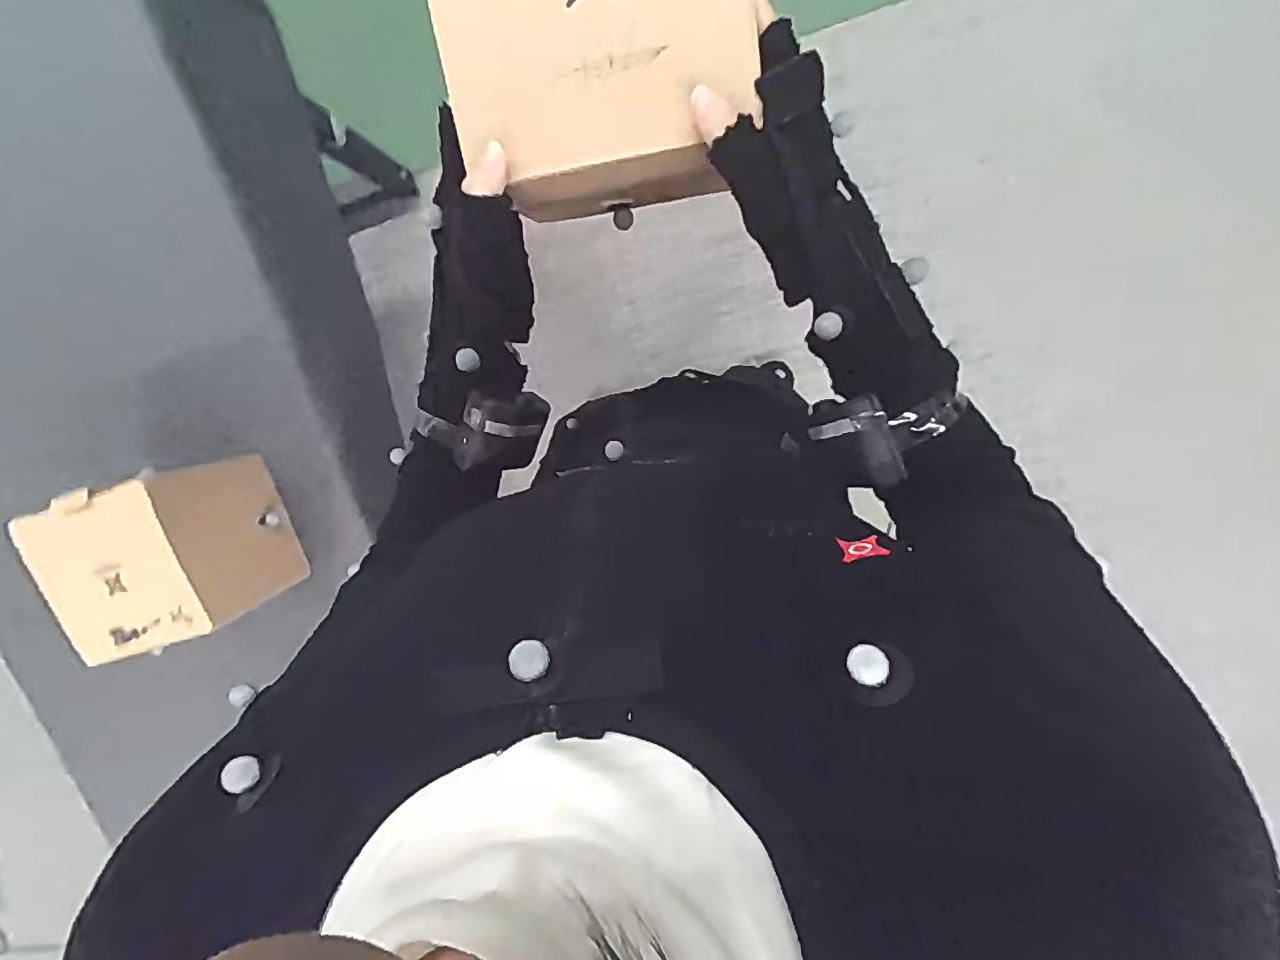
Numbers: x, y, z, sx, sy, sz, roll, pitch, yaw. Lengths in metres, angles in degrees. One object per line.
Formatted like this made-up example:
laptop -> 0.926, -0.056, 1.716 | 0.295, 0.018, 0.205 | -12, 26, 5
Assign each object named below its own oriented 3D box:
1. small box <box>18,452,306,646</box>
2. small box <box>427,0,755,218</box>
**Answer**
small box -> -0.560, 0.070, 0.662 | 0.168, 0.176, 0.179 | -15, 101, 8
small box -> -0.022, -0.281, 0.342 | 0.168, 0.176, 0.179 | -5, 109, 8
